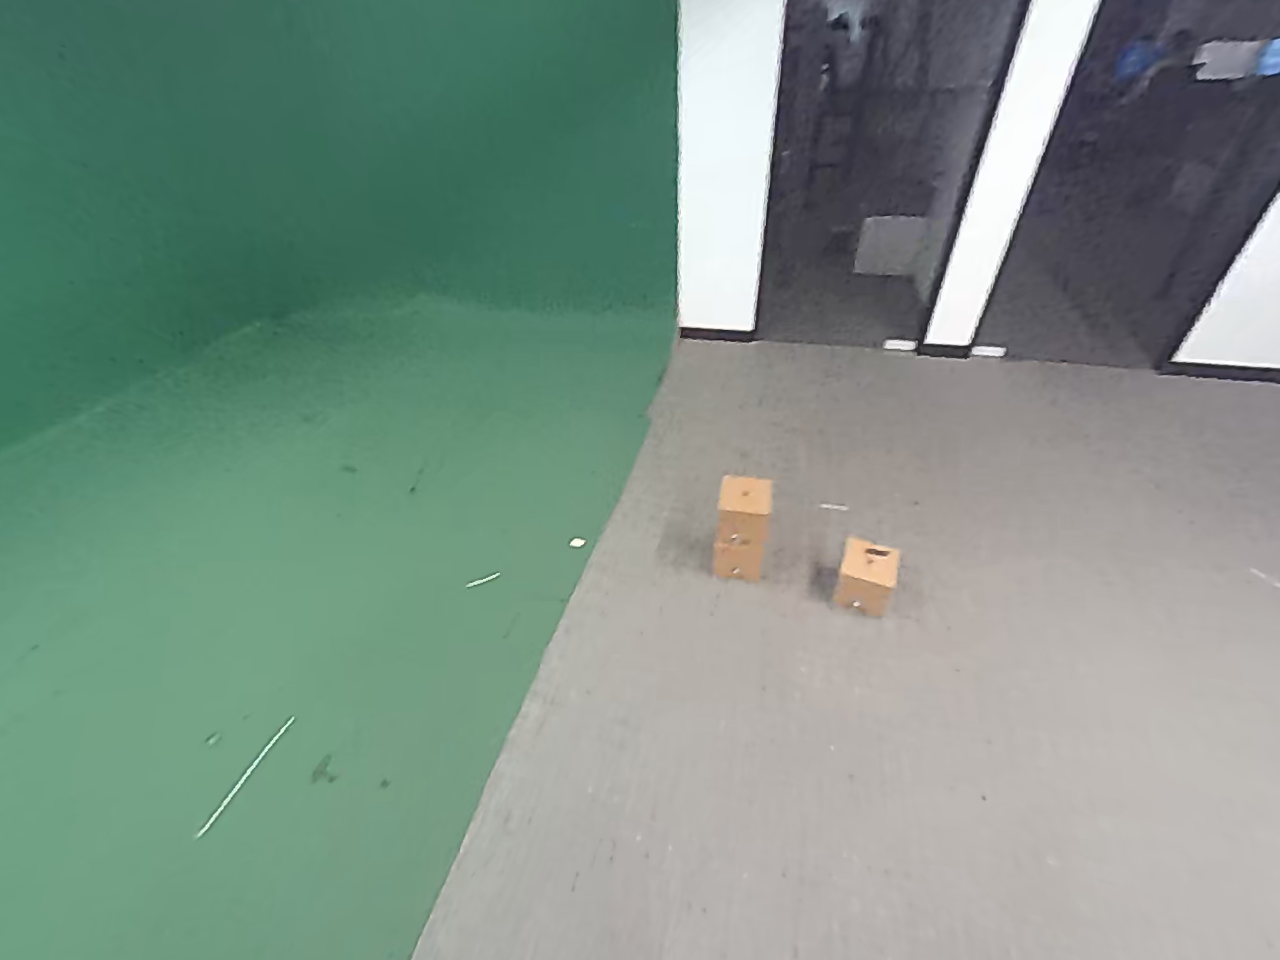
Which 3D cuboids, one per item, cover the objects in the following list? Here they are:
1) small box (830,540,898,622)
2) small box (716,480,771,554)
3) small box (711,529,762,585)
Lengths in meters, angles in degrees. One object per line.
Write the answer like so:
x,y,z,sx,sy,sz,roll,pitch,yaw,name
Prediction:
0.743,0.336,1.799,0.168,0.176,0.179,15,43,20,small box
0.348,0.123,1.829,0.168,0.176,0.179,5,38,12,small box
0.344,0.248,1.929,0.168,0.176,0.179,6,40,10,small box
